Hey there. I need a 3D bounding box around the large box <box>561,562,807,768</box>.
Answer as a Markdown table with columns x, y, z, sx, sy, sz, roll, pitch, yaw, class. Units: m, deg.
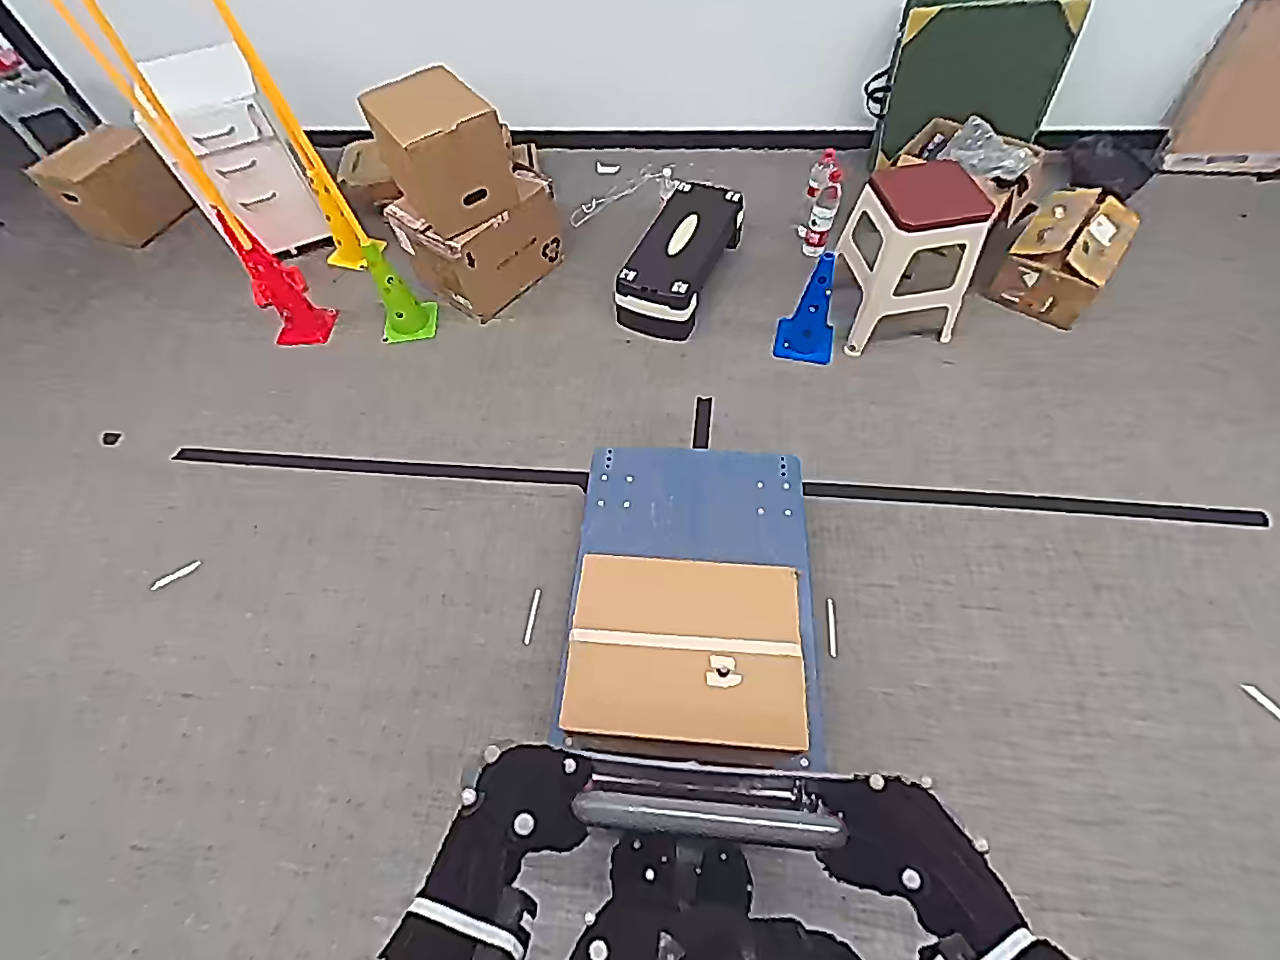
| x | y | z | sx | sy | sz | roll | pitch | yaw | class |
| --- | --- | --- | --- | --- | --- | --- | --- | --- | --- |
| 0.079 | 0.373 | 1.067 | 0.408 | 0.320 | 0.320 | 3 | 59 | 4 | large box |
